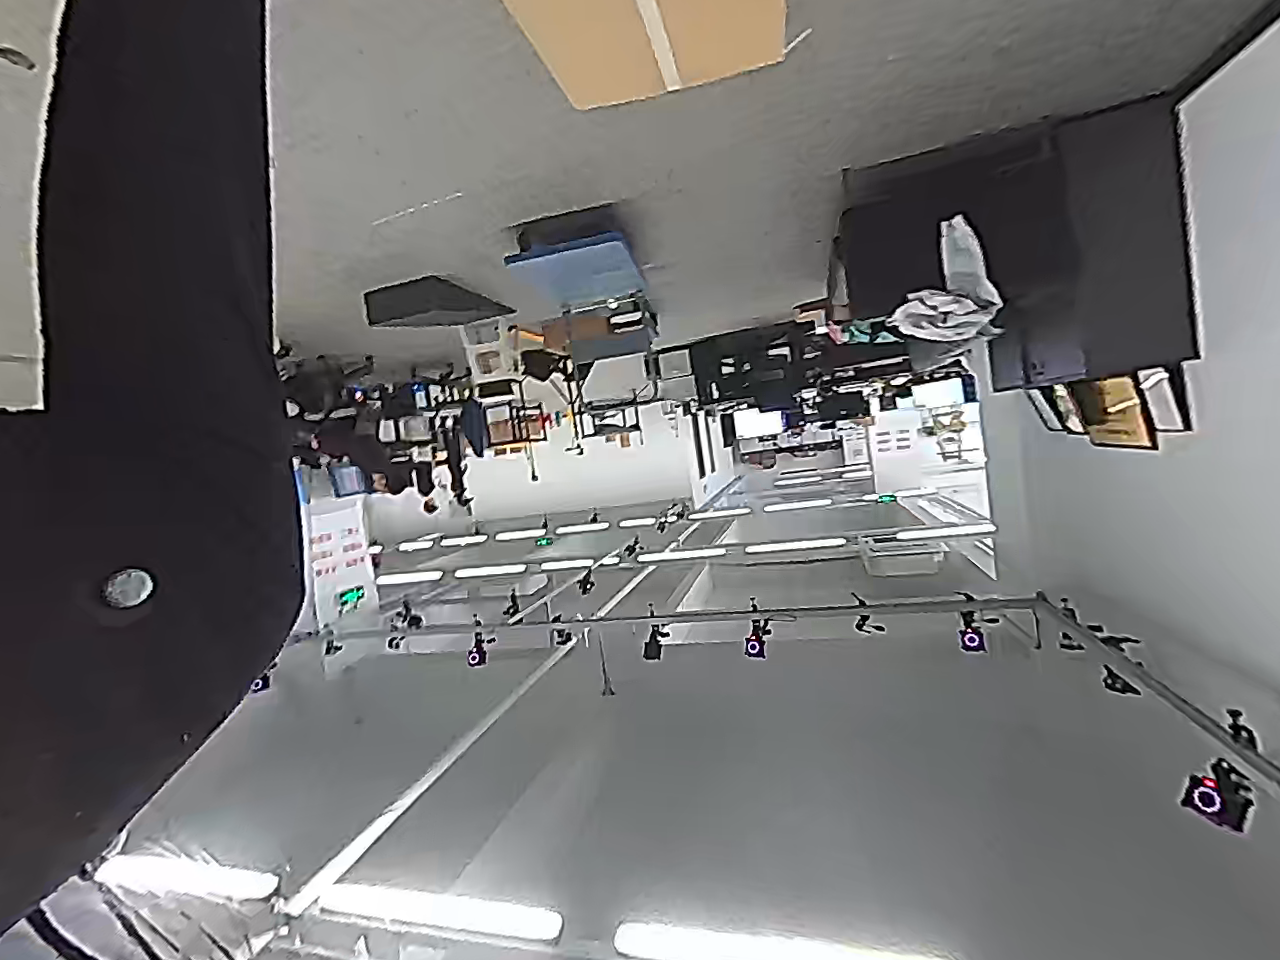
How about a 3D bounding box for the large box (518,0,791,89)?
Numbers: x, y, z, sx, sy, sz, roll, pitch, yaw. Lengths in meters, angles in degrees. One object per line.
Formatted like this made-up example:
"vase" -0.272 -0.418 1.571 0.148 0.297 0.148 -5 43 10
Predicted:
"large box" -0.009 -0.713 0.562 0.320 0.320 0.408 -2 -175 16
